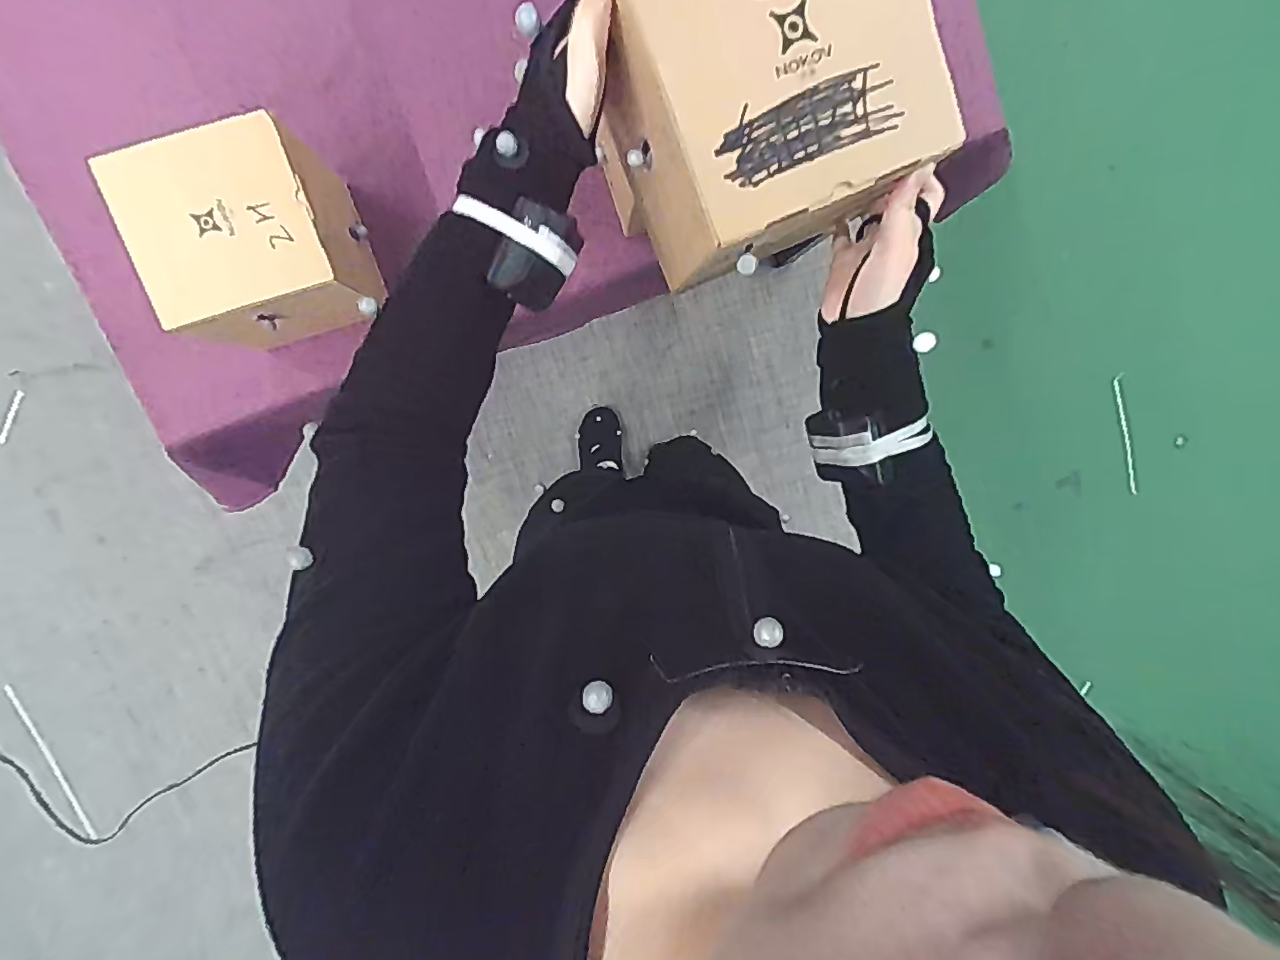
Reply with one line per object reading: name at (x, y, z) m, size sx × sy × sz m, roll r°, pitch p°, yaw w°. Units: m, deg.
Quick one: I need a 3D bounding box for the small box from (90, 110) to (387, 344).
small box at (-0.419, -0.260, 0.600) m, size 0.179 × 0.176 × 0.168 m, roll -18°, pitch 99°, yaw -4°

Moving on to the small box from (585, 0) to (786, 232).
small box at (0.041, -0.416, 0.628) m, size 0.179 × 0.176 × 0.168 m, roll -19°, pitch 98°, yaw -2°
